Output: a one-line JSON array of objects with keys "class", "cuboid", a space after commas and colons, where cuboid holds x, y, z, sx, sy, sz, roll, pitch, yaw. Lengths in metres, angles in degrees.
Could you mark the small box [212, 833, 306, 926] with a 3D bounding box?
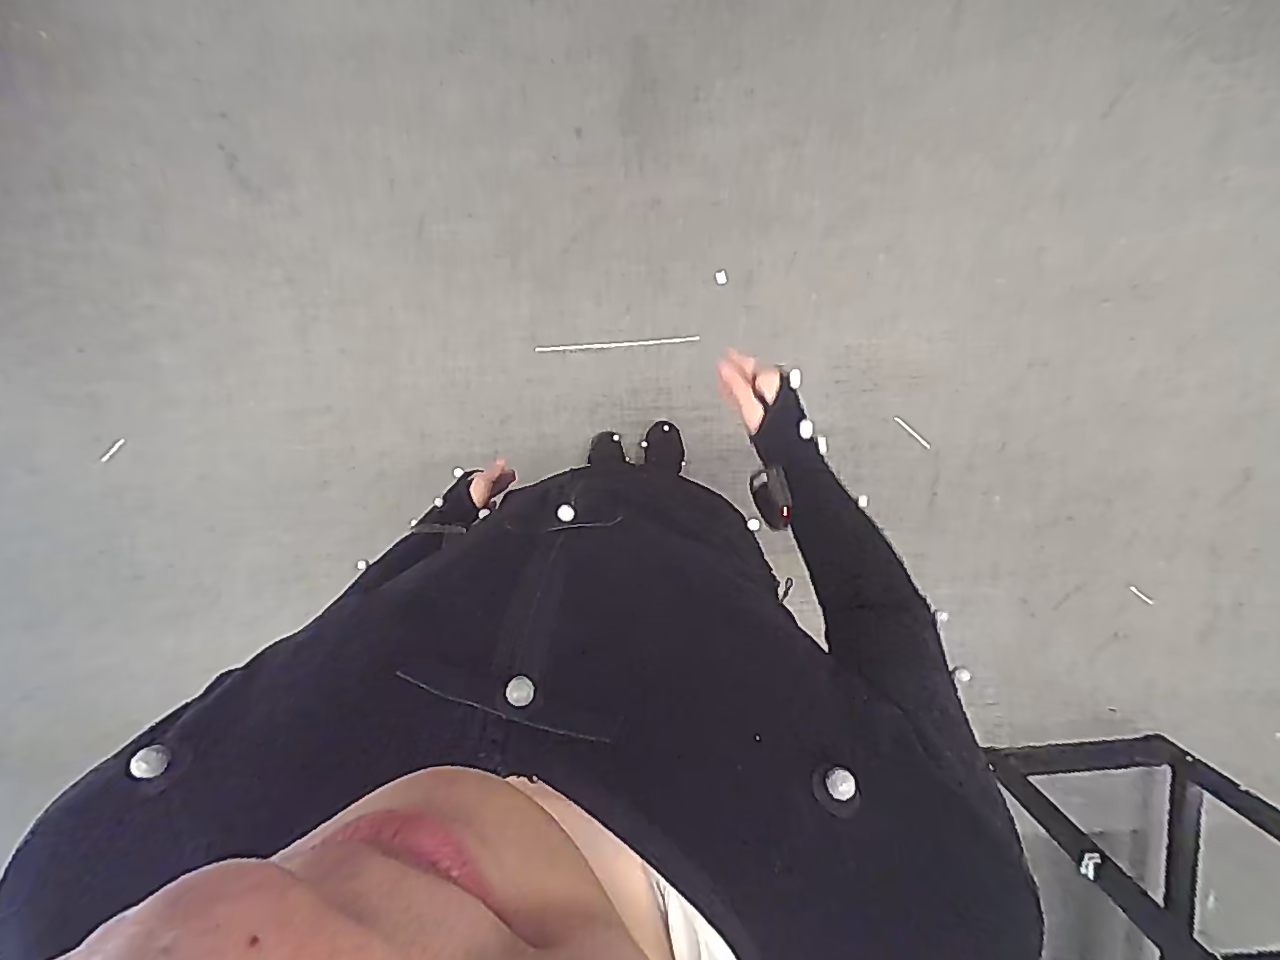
[{"class": "small box", "cuboid": [-1.161, 1.224, 1.666, 0.179, 0.176, 0.168, -1, 97, 1]}]
